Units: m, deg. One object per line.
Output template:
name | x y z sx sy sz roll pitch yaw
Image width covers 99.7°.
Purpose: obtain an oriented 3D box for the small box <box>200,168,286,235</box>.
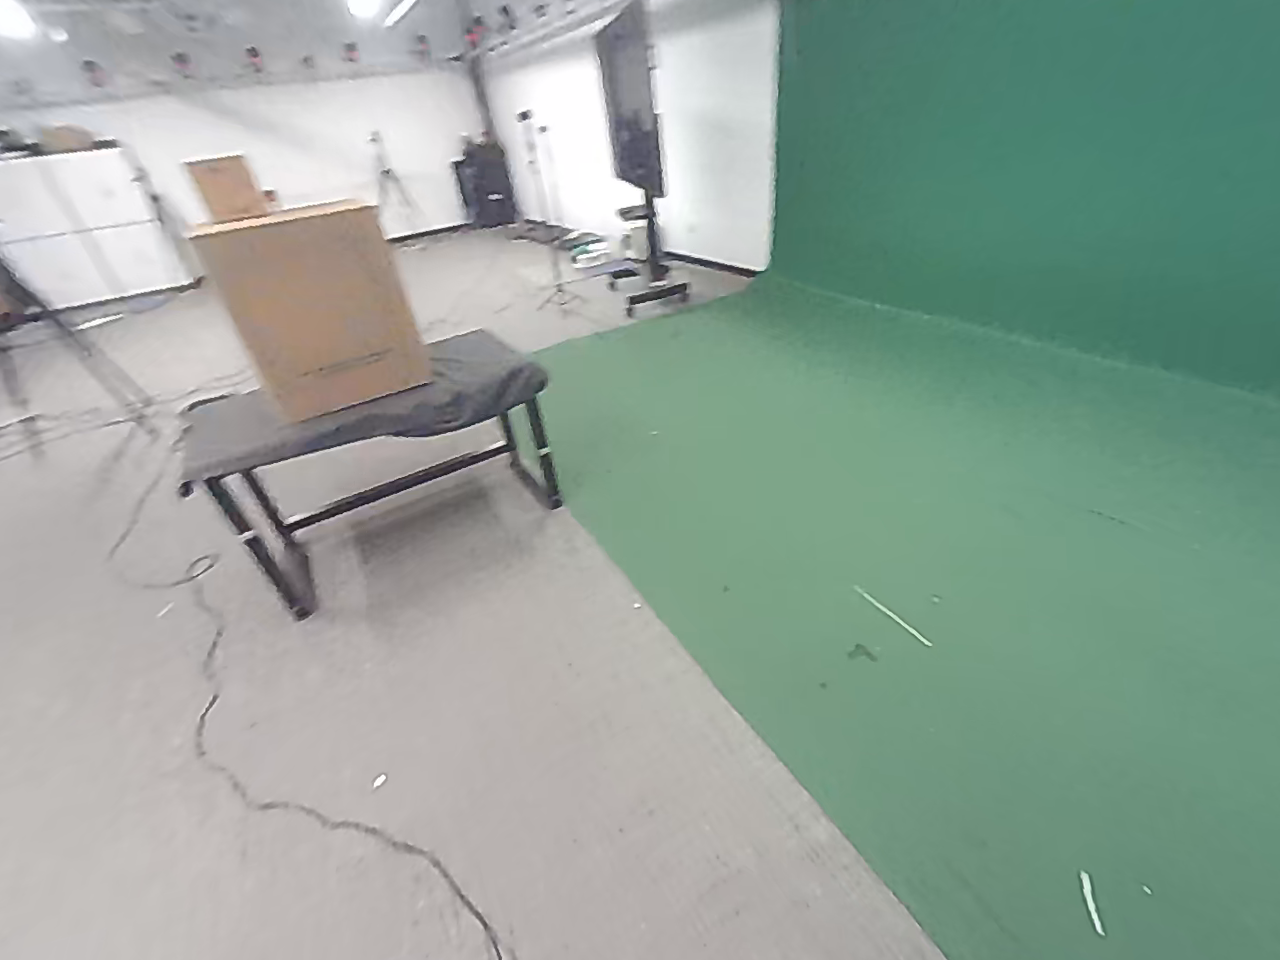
small box | -1.269 -0.894 1.742 0.168 0.176 0.179 -23 35 -21
